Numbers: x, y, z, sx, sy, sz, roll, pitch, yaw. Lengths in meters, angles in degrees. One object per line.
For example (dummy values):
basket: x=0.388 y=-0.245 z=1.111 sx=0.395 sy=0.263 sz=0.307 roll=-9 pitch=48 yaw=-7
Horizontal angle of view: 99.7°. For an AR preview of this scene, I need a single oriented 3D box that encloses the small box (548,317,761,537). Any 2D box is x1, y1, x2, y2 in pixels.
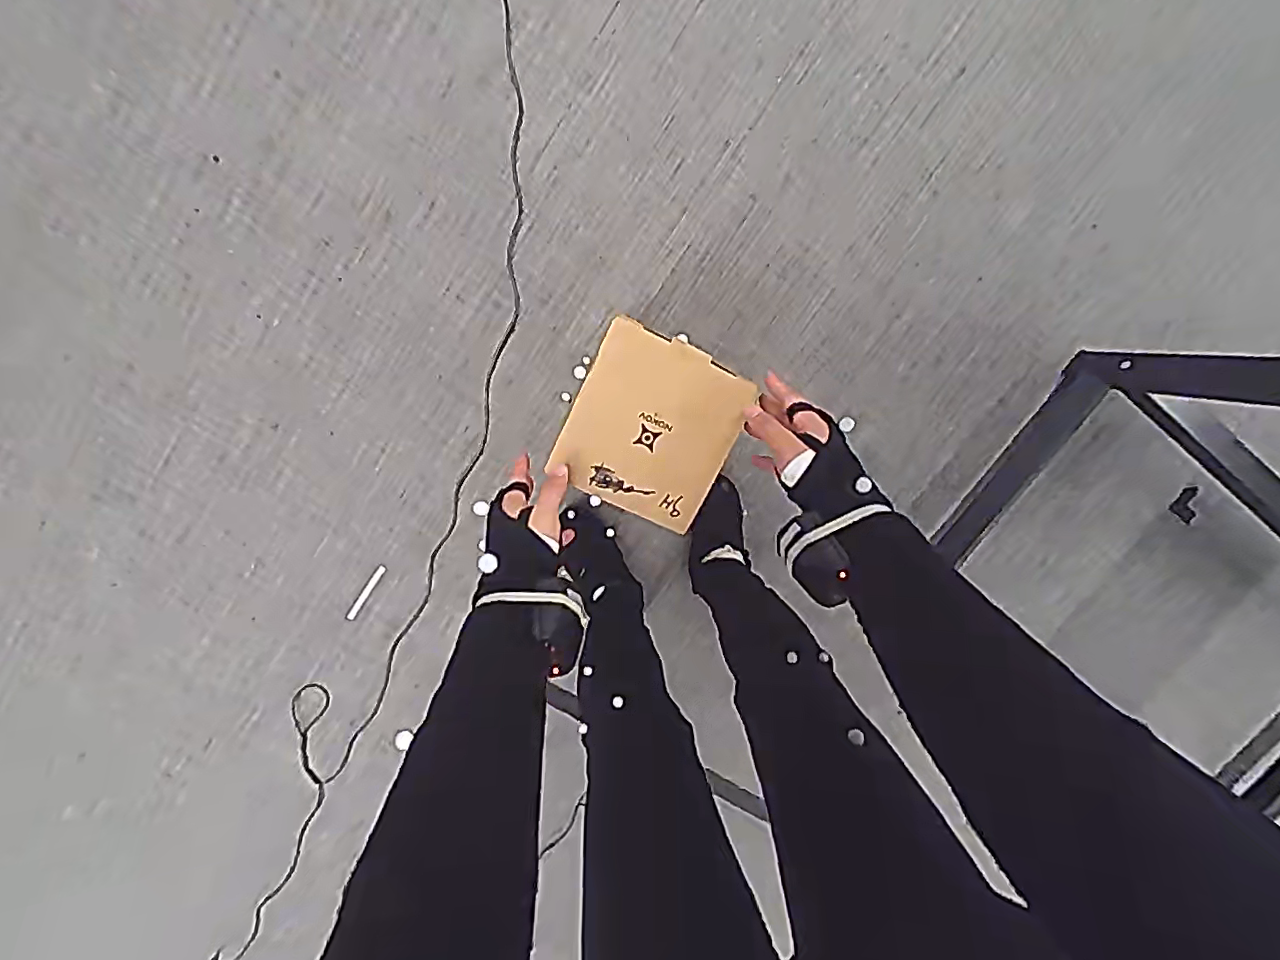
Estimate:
small box: x=0.007 y=-0.066 z=0.622 sx=0.168 sy=0.176 sz=0.179 roll=25 pitch=100 yaw=-10
